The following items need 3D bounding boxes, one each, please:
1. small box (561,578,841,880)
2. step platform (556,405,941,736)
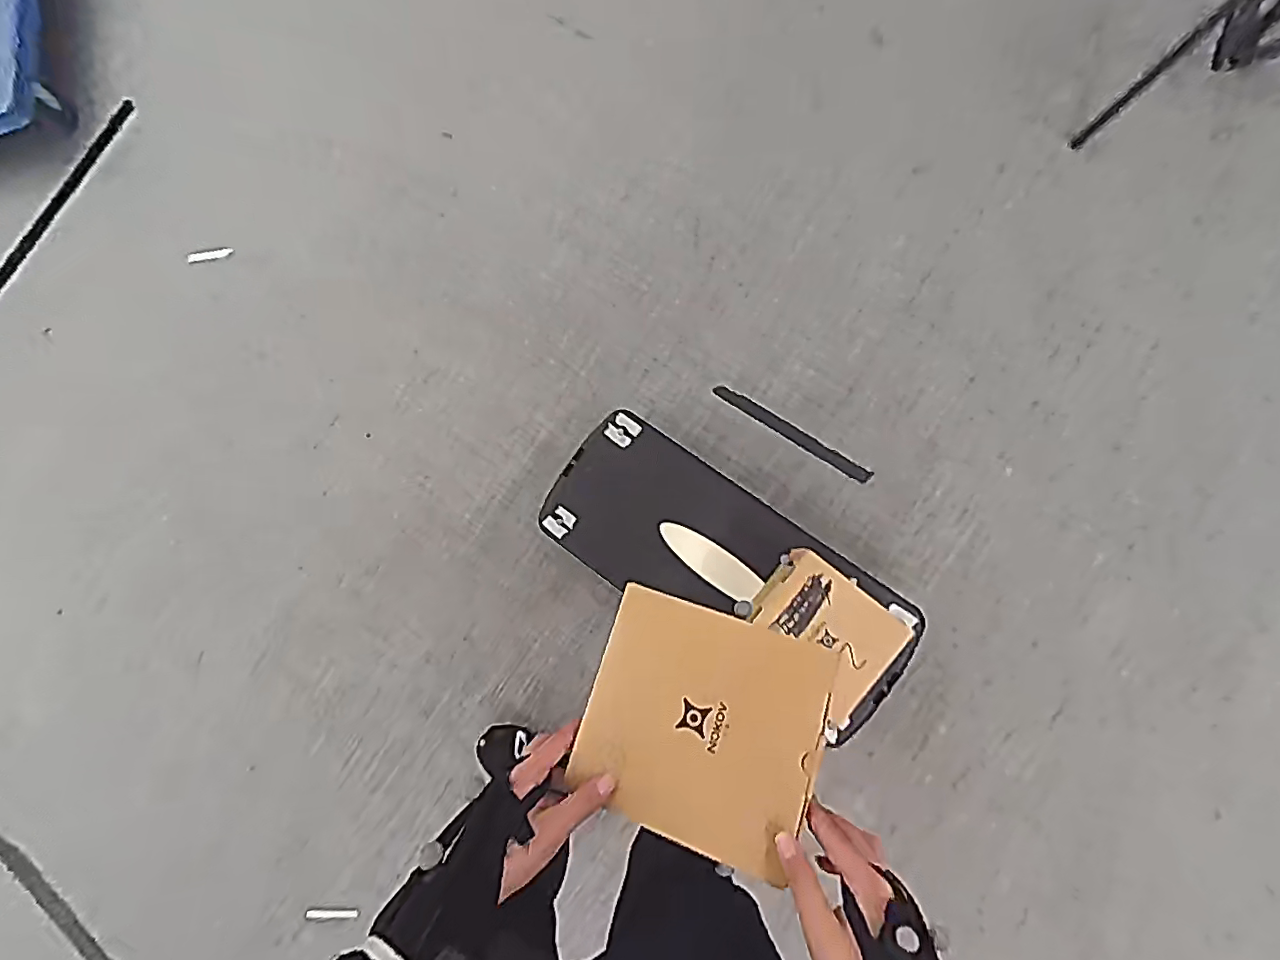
[{"bbox_3d":[0.059,0.200,0.479,0.179,0.176,0.168,15,76,15],"label":"small box"},{"bbox_3d":[0.178,0.148,1.013,0.684,0.204,0.286,35,89,12],"label":"step platform"}]
